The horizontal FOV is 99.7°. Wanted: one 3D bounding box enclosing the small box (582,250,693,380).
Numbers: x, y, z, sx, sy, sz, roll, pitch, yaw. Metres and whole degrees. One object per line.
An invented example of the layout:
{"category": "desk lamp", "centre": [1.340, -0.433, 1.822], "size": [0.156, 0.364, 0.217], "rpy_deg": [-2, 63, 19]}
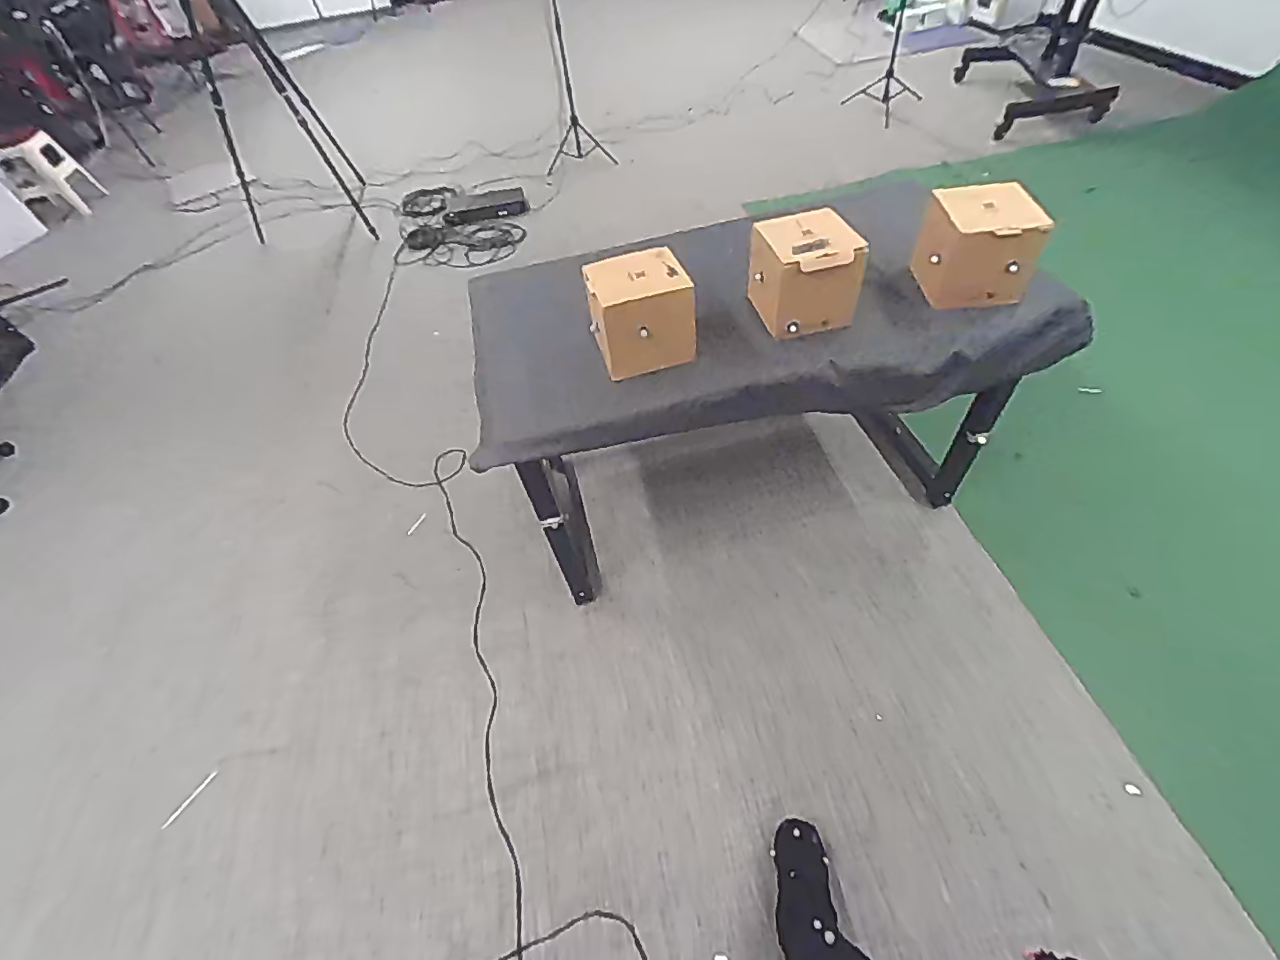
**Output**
{"category": "small box", "centre": [-0.002, -0.321, 1.069], "size": [0.179, 0.176, 0.168], "rpy_deg": [-16, 50, -5]}

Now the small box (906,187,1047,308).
{"category": "small box", "centre": [0.669, -0.465, 1.098], "size": [0.168, 0.176, 0.179], "rpy_deg": [-3, 50, 4]}

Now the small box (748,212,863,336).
{"category": "small box", "centre": [0.326, -0.411, 1.100], "size": [0.168, 0.176, 0.179], "rpy_deg": [-12, 50, -3]}
